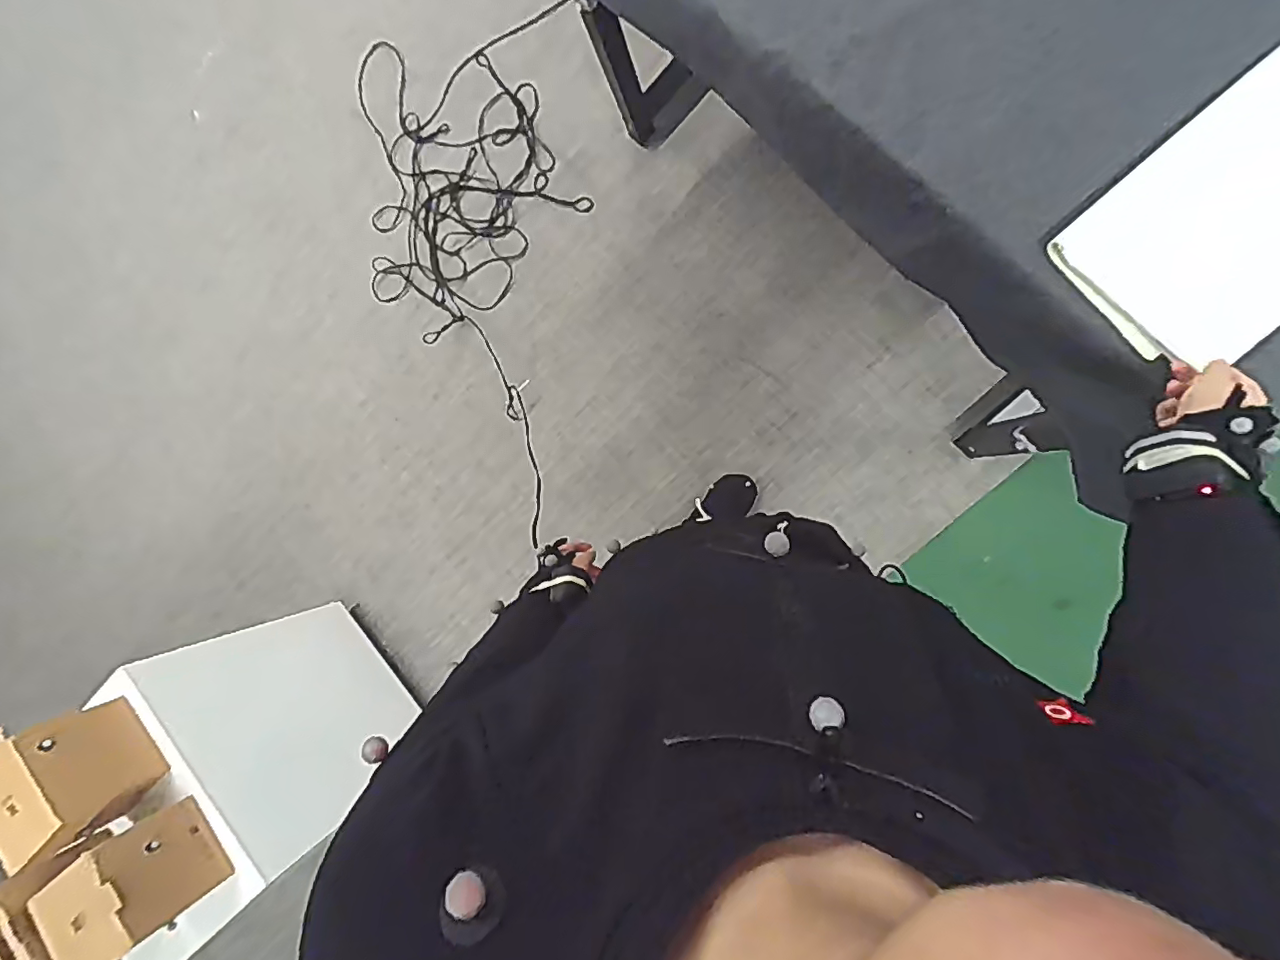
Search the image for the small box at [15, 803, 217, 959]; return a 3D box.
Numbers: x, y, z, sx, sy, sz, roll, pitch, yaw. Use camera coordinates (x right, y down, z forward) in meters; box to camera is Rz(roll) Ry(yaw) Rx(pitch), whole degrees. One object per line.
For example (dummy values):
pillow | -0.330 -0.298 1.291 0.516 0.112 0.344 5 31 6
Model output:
small box | -0.868 0.695 0.915 0.179 0.176 0.168 -39 81 12
